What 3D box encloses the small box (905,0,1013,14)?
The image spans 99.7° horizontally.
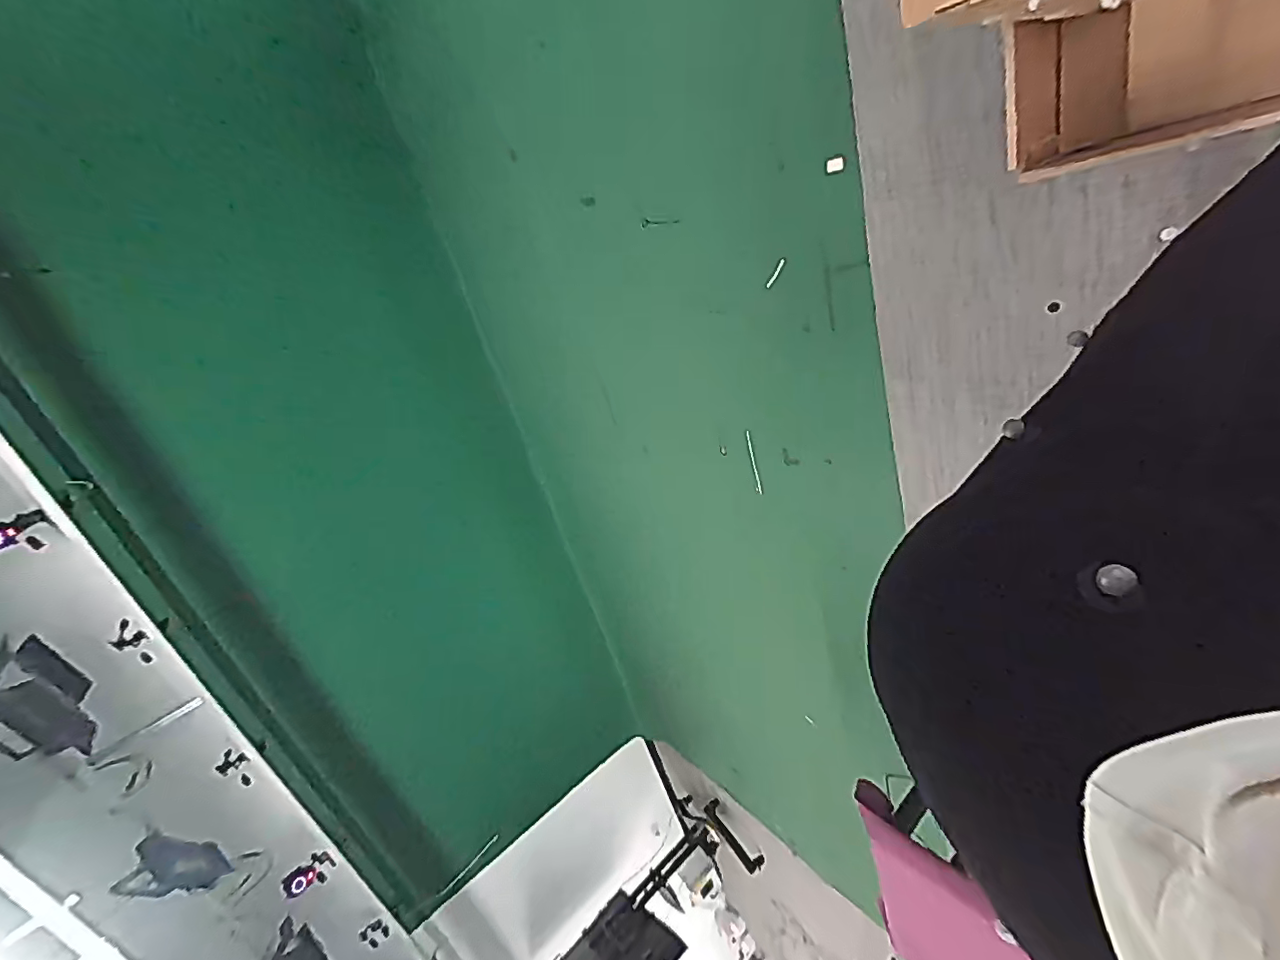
[{"bbox_3d":[0.338,-0.522,0.441,0.168,0.176,0.179,21,134,49],"label":"small box"}]

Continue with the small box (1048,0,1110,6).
[{"bbox_3d":[0.582,-0.669,0.599,0.168,0.176,0.179,17,131,51],"label":"small box"}]

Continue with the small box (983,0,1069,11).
[{"bbox_3d":[0.459,-0.595,0.522,0.168,0.176,0.179,20,133,50],"label":"small box"}]
